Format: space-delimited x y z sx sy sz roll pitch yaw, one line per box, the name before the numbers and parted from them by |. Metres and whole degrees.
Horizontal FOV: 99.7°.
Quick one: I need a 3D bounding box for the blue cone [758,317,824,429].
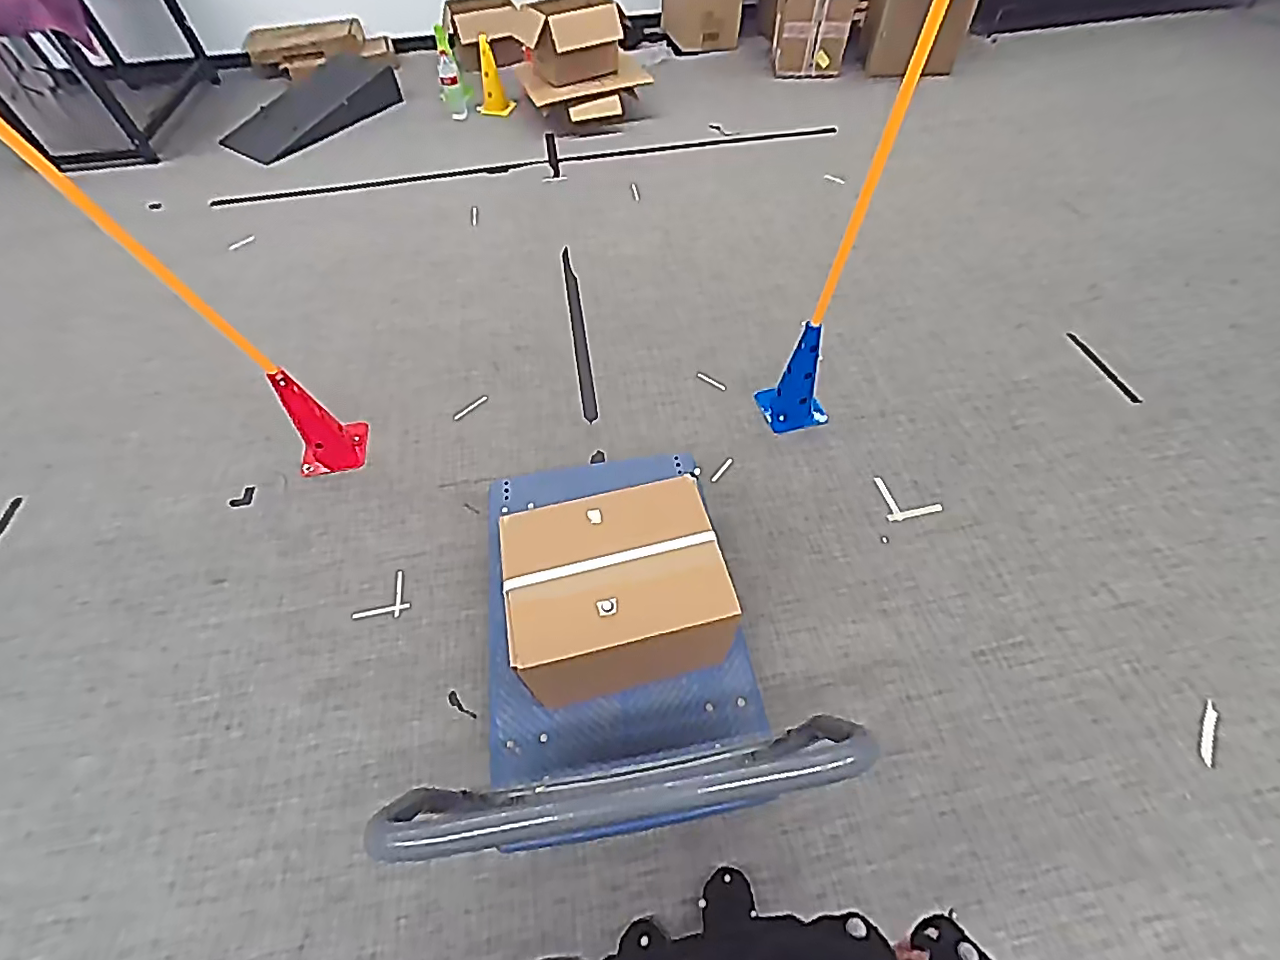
blue cone | 0.517 -0.350 1.731 0.193 0.380 0.192 -12 55 -7
